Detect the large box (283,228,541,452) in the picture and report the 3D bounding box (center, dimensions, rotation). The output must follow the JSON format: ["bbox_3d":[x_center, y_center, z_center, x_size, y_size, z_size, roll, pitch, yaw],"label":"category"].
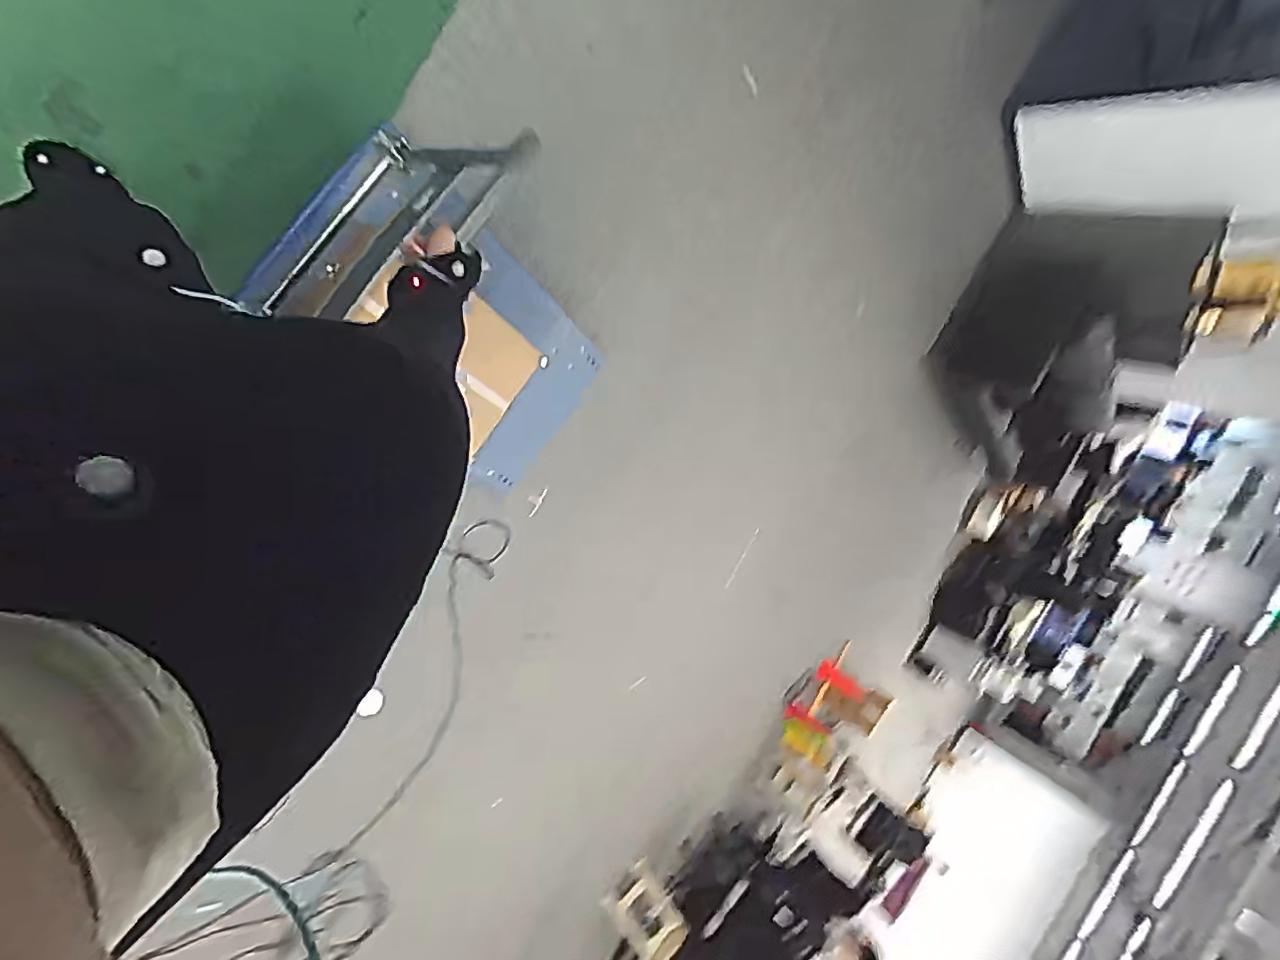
[{"bbox_3d":[-0.528,-0.326,1.272,0.320,0.320,0.408,-56,137,-4],"label":"large box"}]
